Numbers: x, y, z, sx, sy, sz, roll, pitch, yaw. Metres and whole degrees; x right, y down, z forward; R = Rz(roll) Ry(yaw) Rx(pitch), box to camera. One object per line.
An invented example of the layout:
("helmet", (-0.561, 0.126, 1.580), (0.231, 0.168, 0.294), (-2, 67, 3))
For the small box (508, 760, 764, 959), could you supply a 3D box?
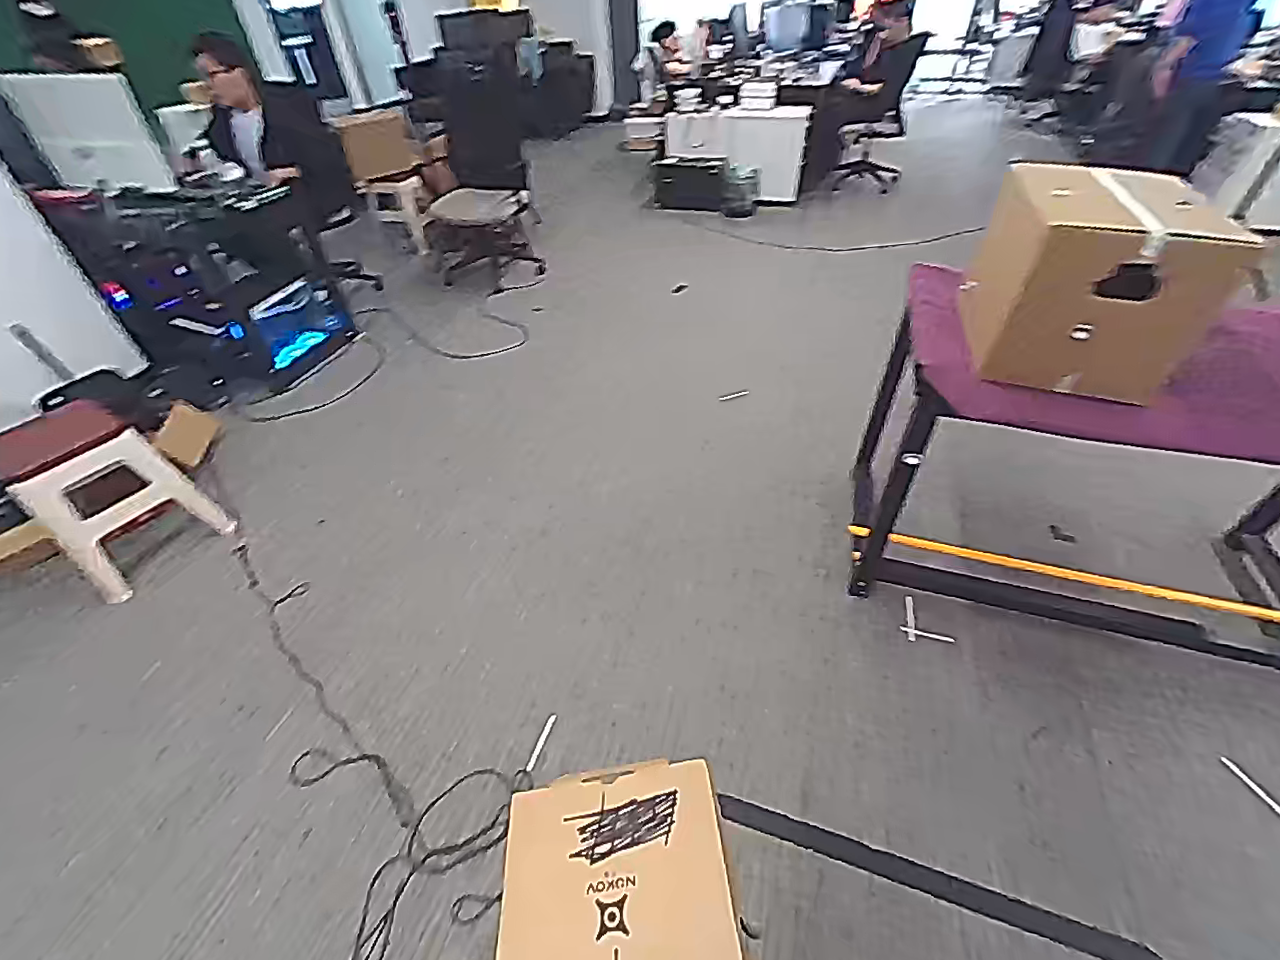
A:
("small box", (0.006, 0.359, 0.419), (0.168, 0.176, 0.179), (-14, 33, 2))
